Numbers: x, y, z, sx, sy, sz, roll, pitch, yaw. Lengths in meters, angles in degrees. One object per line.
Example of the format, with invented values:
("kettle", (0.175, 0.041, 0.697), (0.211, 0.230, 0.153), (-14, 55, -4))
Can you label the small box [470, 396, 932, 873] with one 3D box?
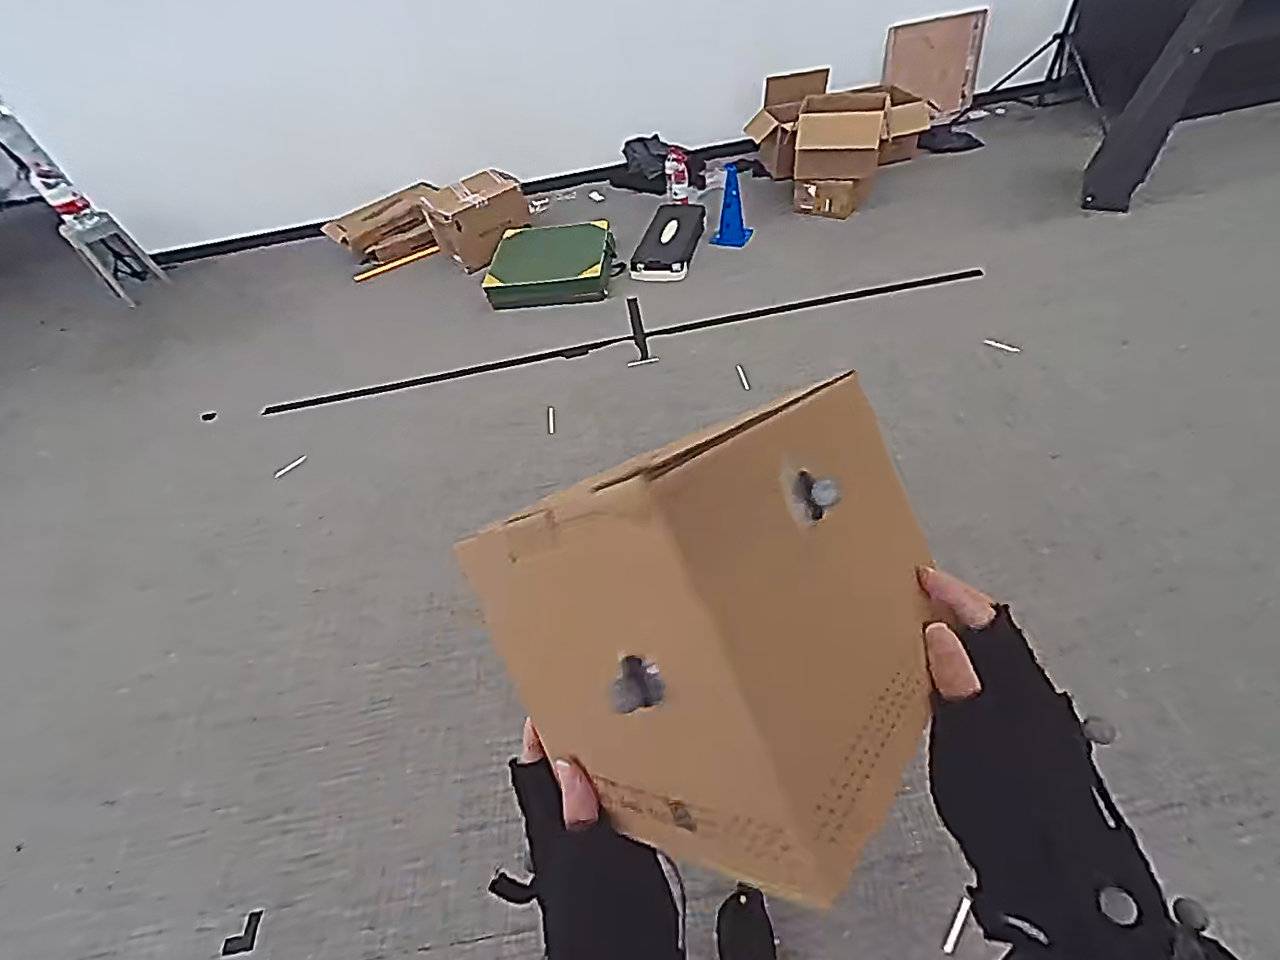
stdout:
("small box", (0.040, 0.073, 0.312), (0.168, 0.176, 0.179), (-20, 4, 46))
